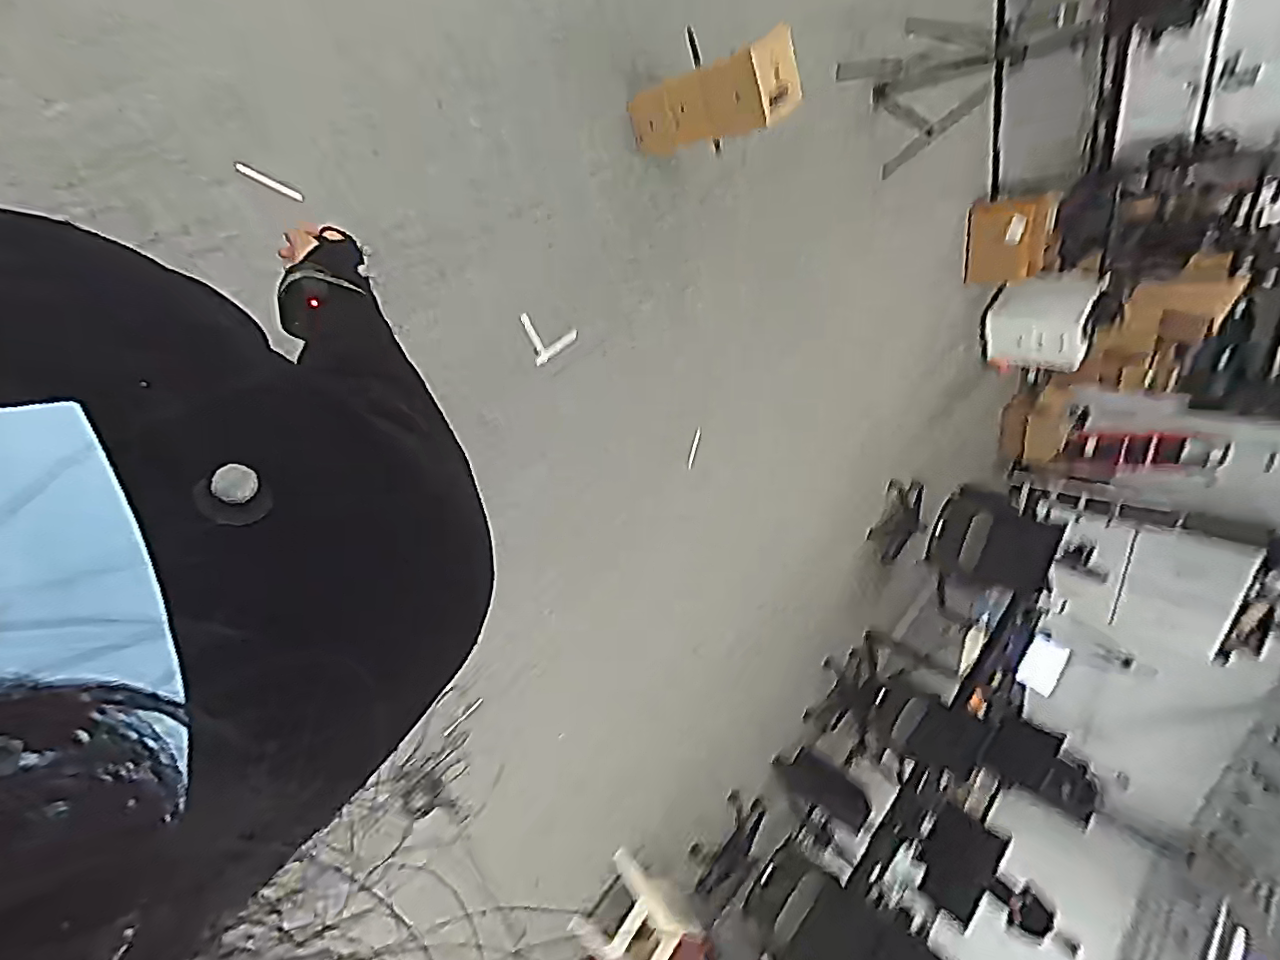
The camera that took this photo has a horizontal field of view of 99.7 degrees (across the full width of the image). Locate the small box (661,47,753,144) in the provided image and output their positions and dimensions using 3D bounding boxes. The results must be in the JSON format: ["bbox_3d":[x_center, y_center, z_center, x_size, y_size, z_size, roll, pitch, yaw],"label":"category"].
[{"bbox_3d":[0.192,-1.097,1.551,0.179,0.176,0.168,-44,129,-22],"label":"small box"}]

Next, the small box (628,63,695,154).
[{"bbox_3d":[0.085,-1.138,1.667,0.179,0.176,0.168,-45,130,-22],"label":"small box"}]
